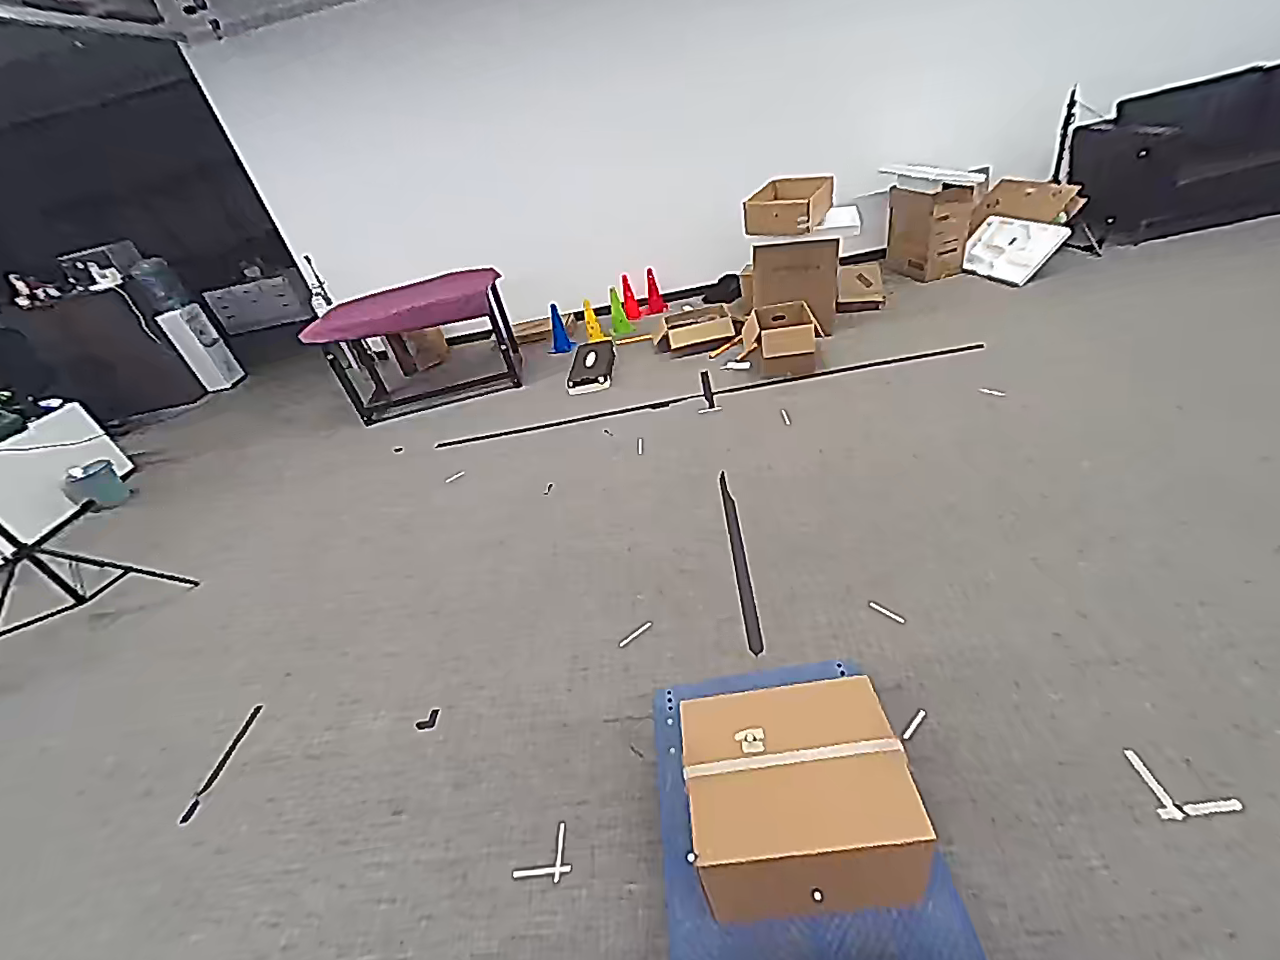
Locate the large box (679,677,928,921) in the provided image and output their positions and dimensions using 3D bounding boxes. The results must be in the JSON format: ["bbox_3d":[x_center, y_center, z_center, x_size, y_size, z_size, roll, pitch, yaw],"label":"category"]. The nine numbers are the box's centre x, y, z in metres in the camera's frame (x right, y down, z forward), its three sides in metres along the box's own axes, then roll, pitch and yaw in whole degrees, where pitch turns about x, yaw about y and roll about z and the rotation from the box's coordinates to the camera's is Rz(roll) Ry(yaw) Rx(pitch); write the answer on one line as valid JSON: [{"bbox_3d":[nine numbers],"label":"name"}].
[{"bbox_3d":[0.317,0.663,1.126,0.408,0.320,0.320,-11,34,5],"label":"large box"}]
